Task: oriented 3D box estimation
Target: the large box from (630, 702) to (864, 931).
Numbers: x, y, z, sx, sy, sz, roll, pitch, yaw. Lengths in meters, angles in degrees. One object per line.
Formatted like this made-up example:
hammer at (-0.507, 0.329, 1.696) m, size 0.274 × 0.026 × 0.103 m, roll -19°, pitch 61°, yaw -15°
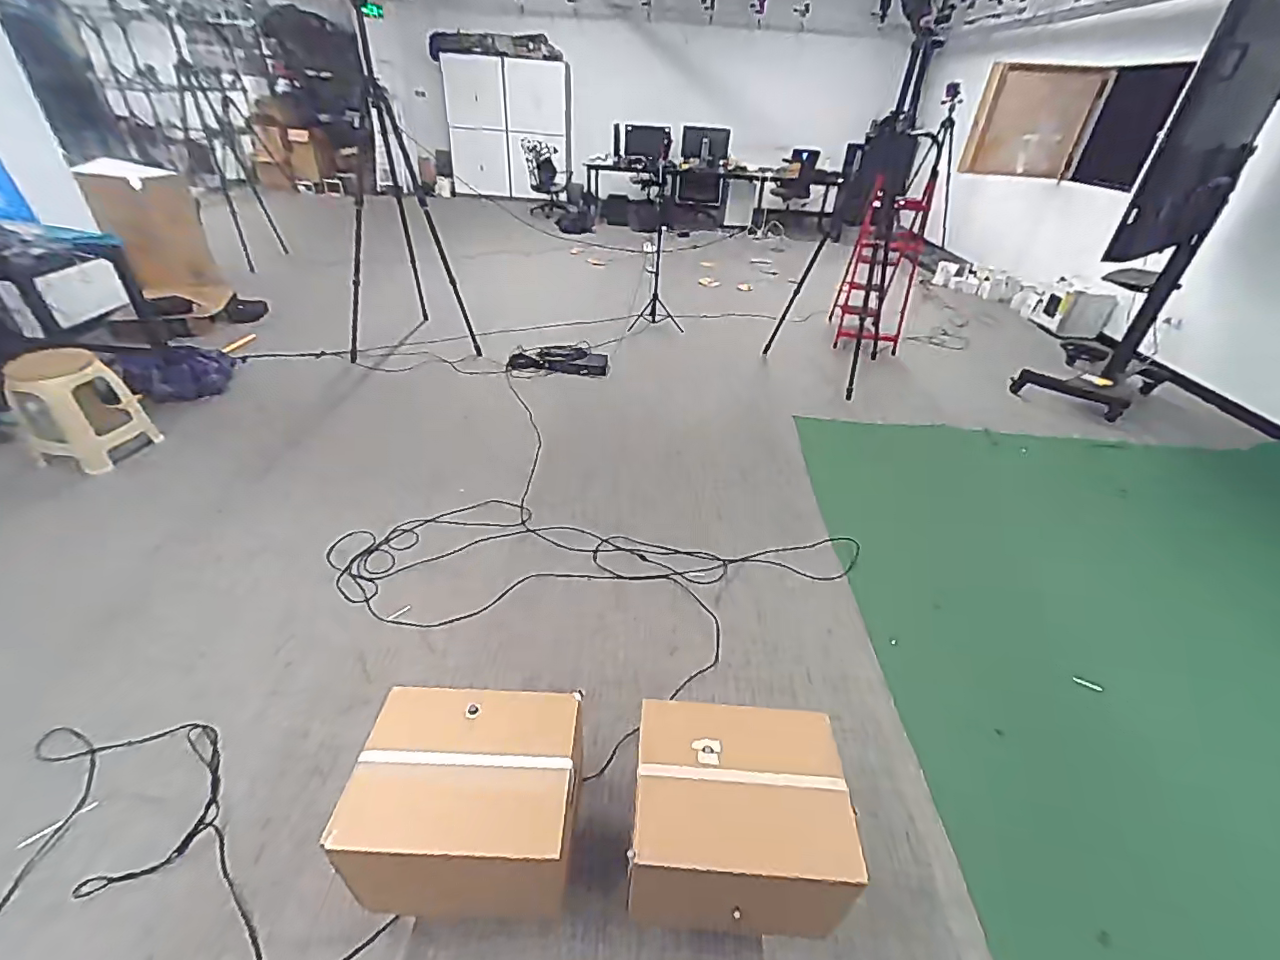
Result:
large box at (0.192, 0.704, 1.138) m, size 0.408 × 0.320 × 0.320 m, roll 4°, pitch 35°, yaw 1°
